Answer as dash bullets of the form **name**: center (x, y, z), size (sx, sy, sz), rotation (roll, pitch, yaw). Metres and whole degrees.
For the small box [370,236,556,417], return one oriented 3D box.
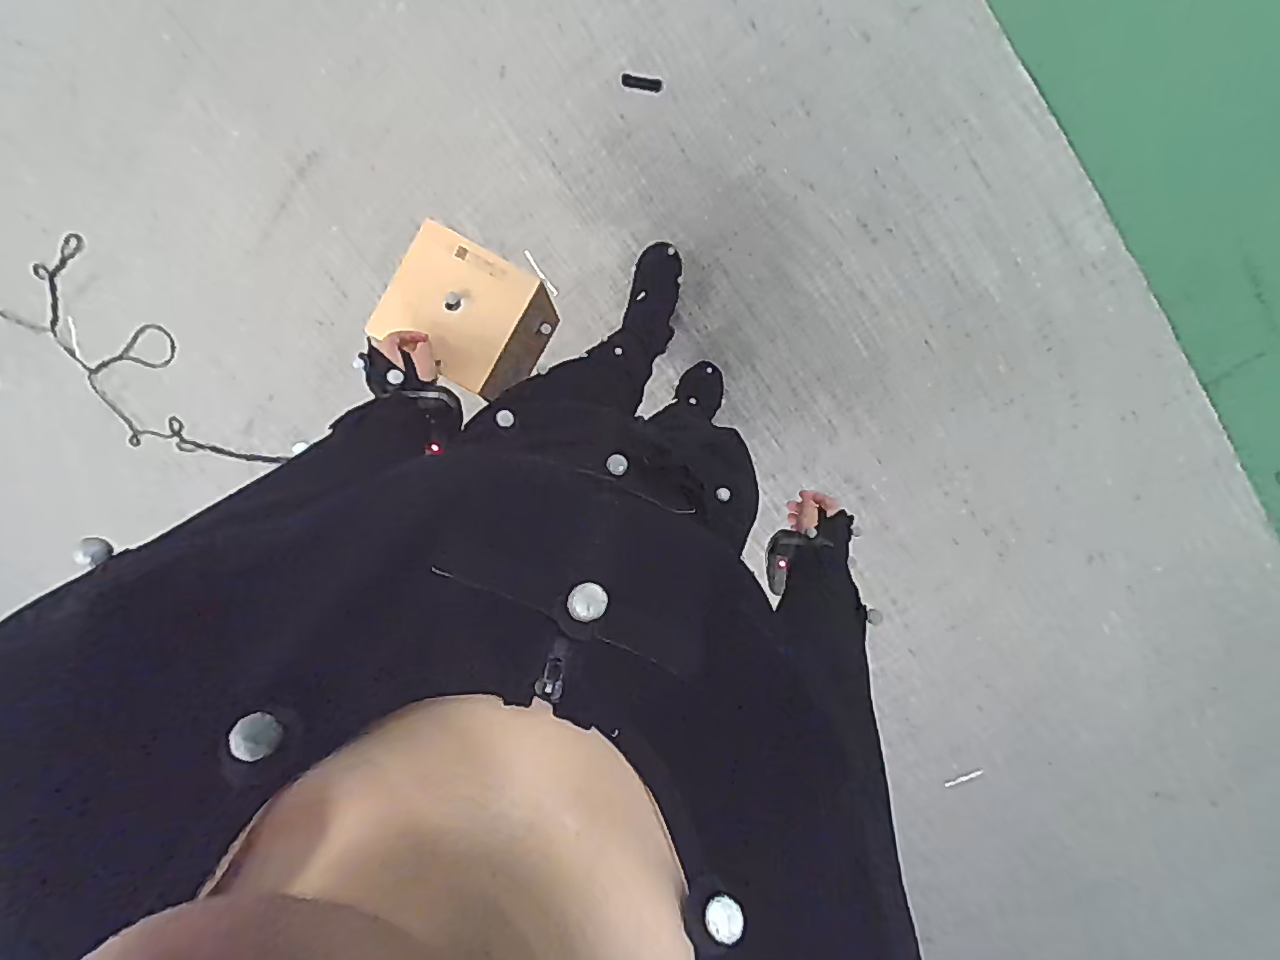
- **small box**: center (-0.236, -0.209, 0.765), size (0.168, 0.179, 0.176), rotation (27, 90, -1)
